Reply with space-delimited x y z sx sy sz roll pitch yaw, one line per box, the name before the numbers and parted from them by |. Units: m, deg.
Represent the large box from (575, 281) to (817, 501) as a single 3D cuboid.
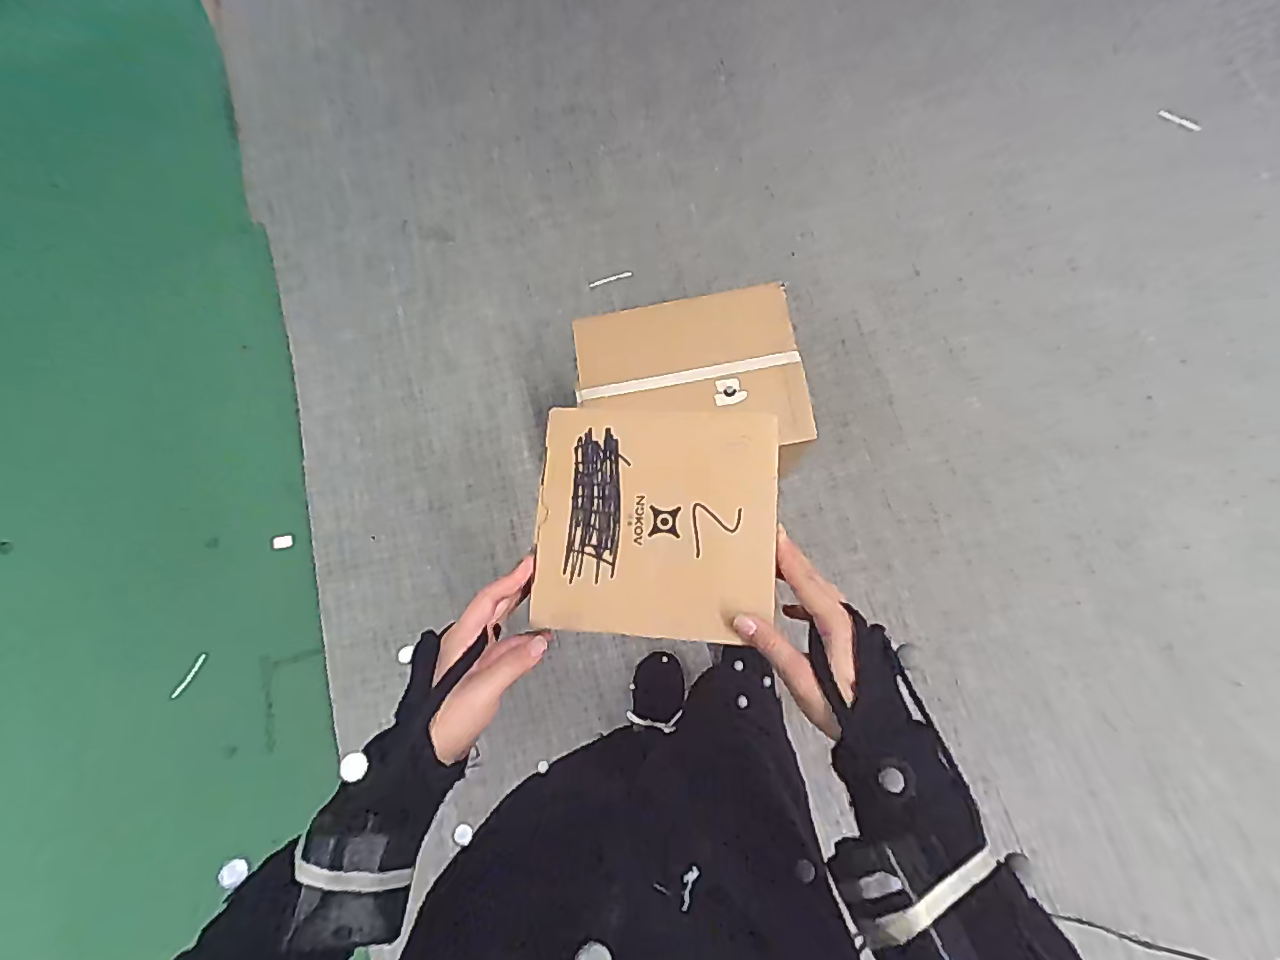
large box | 0.106 -0.160 1.133 0.408 0.320 0.320 -10 78 3
